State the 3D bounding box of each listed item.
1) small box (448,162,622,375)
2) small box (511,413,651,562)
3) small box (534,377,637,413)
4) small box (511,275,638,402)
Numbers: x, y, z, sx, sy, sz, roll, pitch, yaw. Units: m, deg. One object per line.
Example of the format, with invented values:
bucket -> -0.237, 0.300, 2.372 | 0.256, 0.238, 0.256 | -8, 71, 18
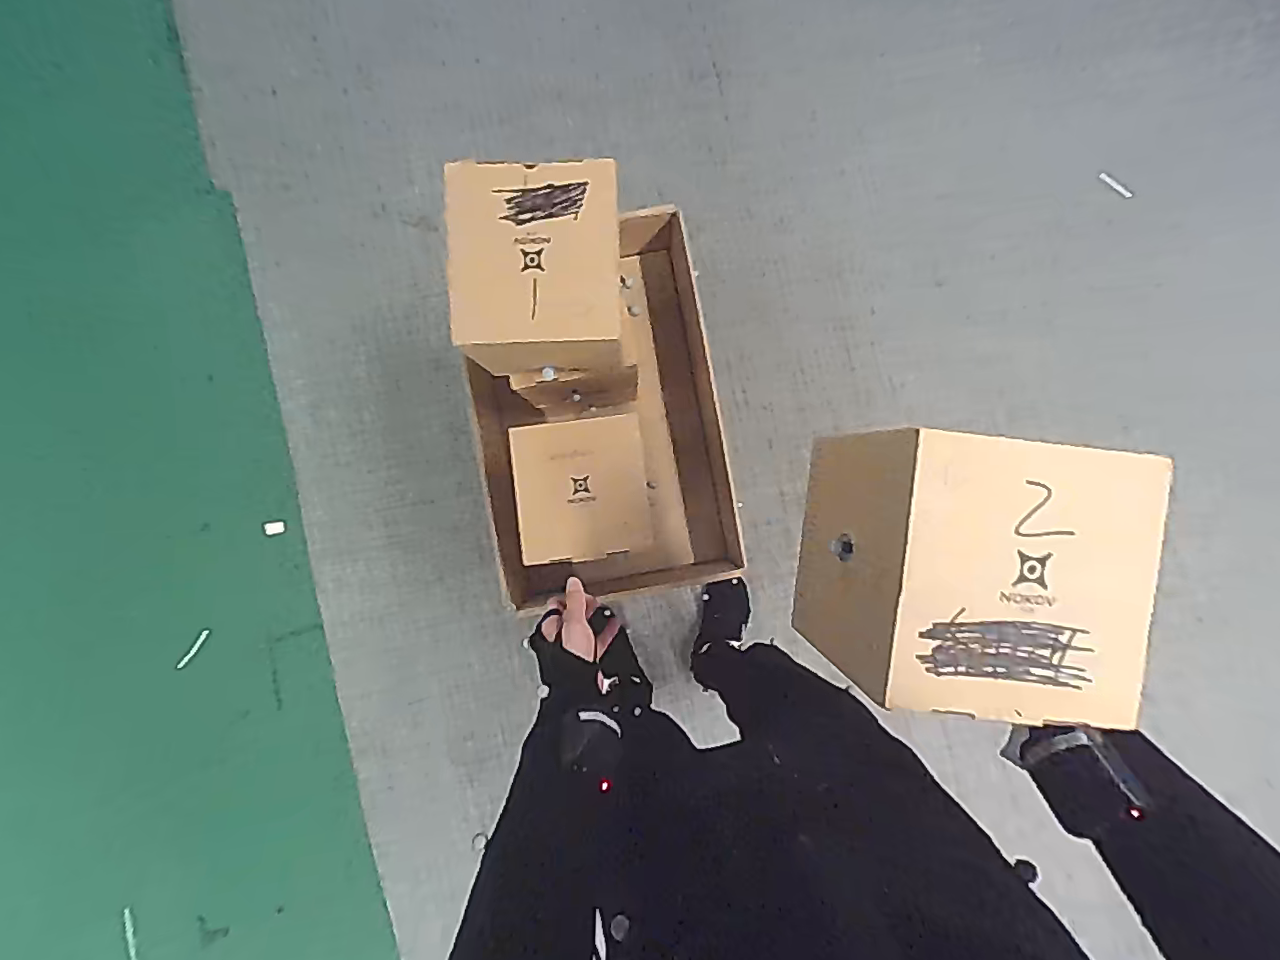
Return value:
small box -> -0.105, -0.221, 0.603 | 0.168, 0.176, 0.179 | -2, 92, -1
small box -> -0.074, 0.012, 0.759 | 0.168, 0.176, 0.179 | -7, 87, -1
small box -> -0.102, -0.222, 0.929 | 0.168, 0.176, 0.179 | -11, 91, 0
small box -> -0.101, -0.219, 0.768 | 0.168, 0.176, 0.179 | -12, 91, -1
